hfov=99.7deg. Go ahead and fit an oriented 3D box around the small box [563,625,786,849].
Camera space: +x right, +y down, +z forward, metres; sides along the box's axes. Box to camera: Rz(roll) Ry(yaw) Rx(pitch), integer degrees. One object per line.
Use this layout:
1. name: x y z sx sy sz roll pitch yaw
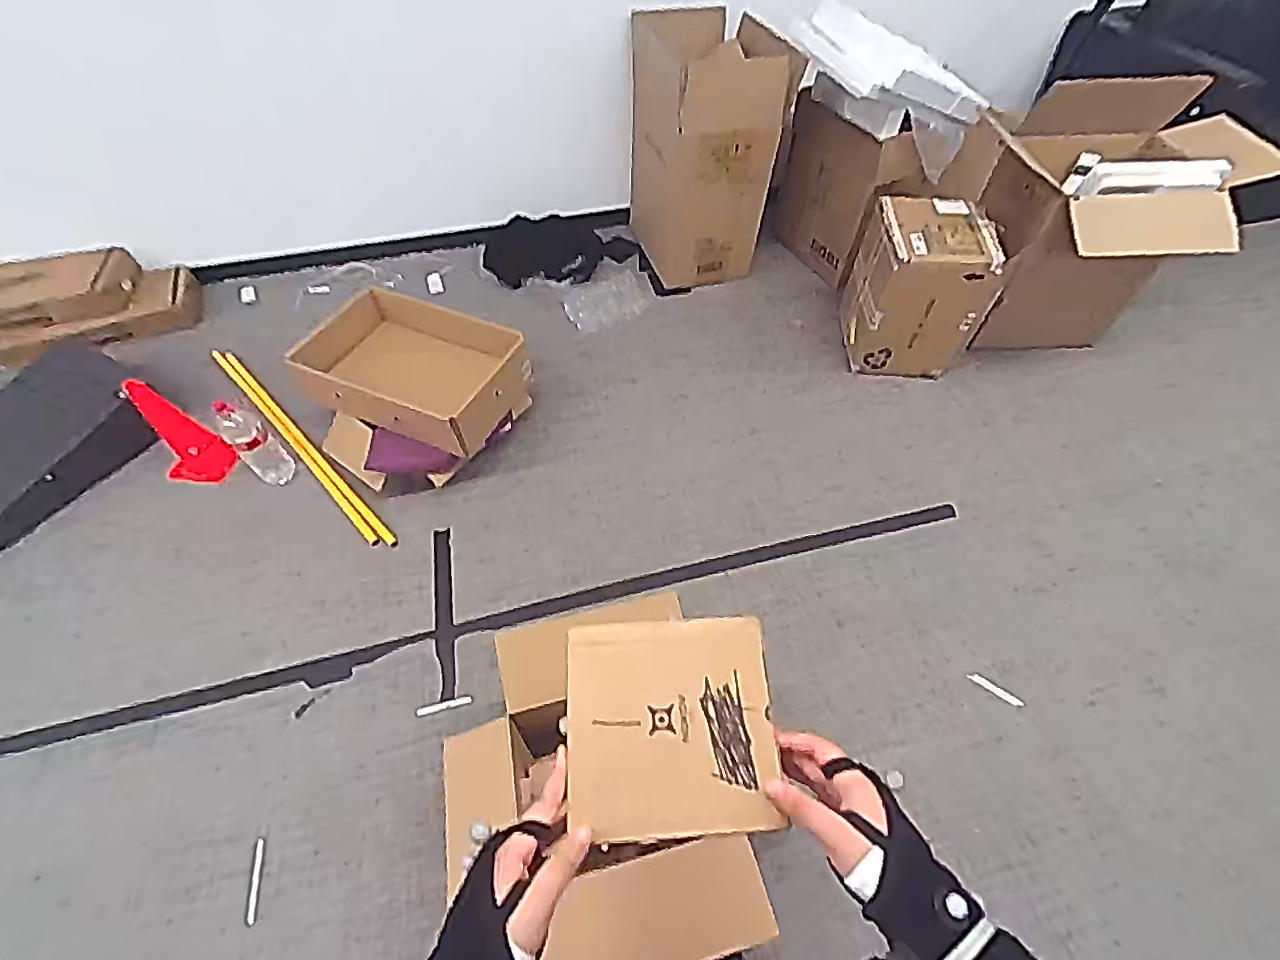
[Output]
1. small box: 0.023 0.243 0.522 0.179 0.176 0.168 -3 62 -2
